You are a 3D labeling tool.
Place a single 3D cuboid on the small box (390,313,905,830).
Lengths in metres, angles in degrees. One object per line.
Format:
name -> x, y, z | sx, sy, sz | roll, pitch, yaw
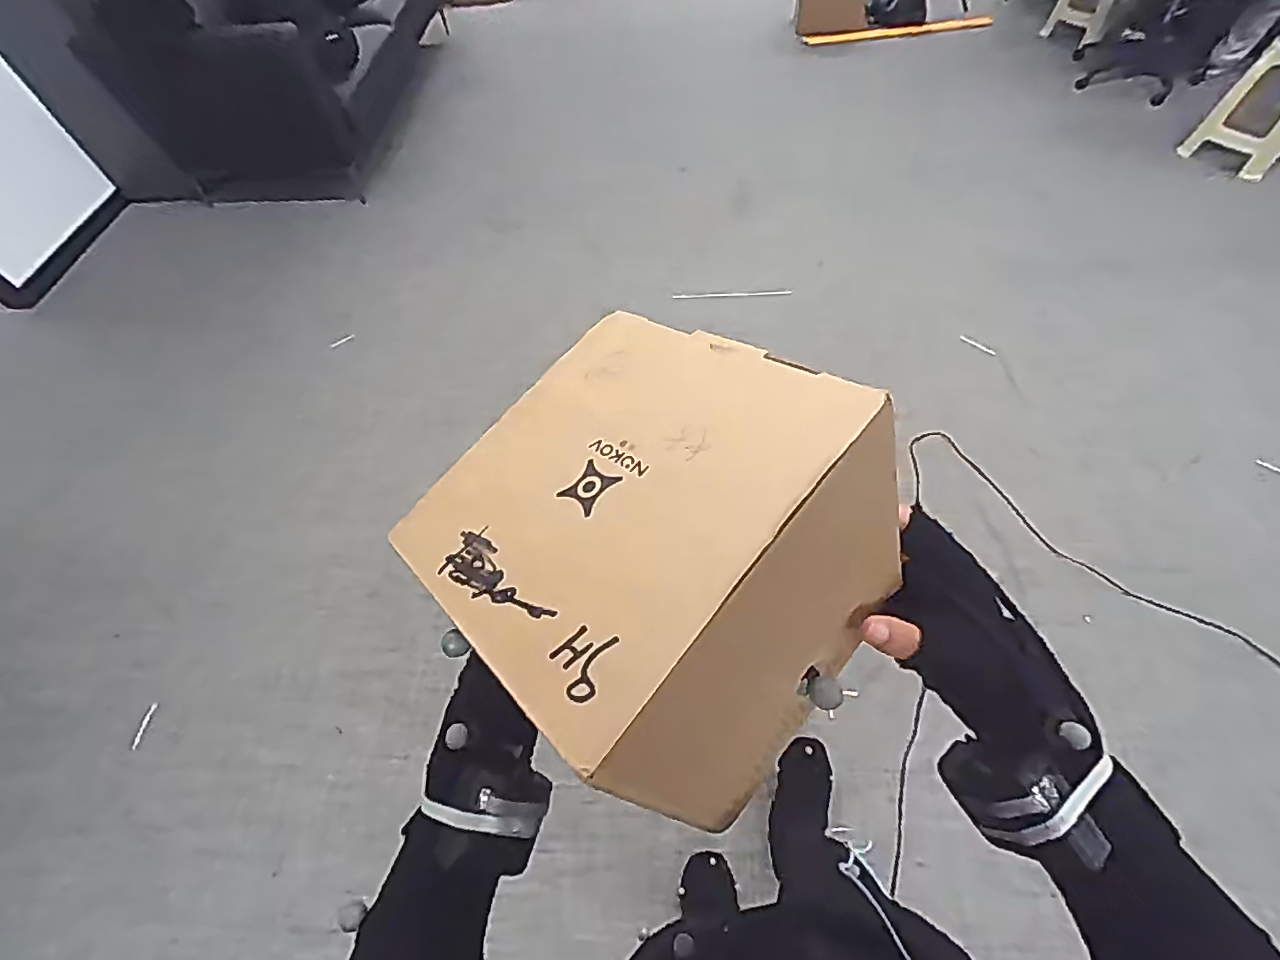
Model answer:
small box -> 0.016, 0.046, 0.289 | 0.168, 0.176, 0.179 | 30, 71, 40
